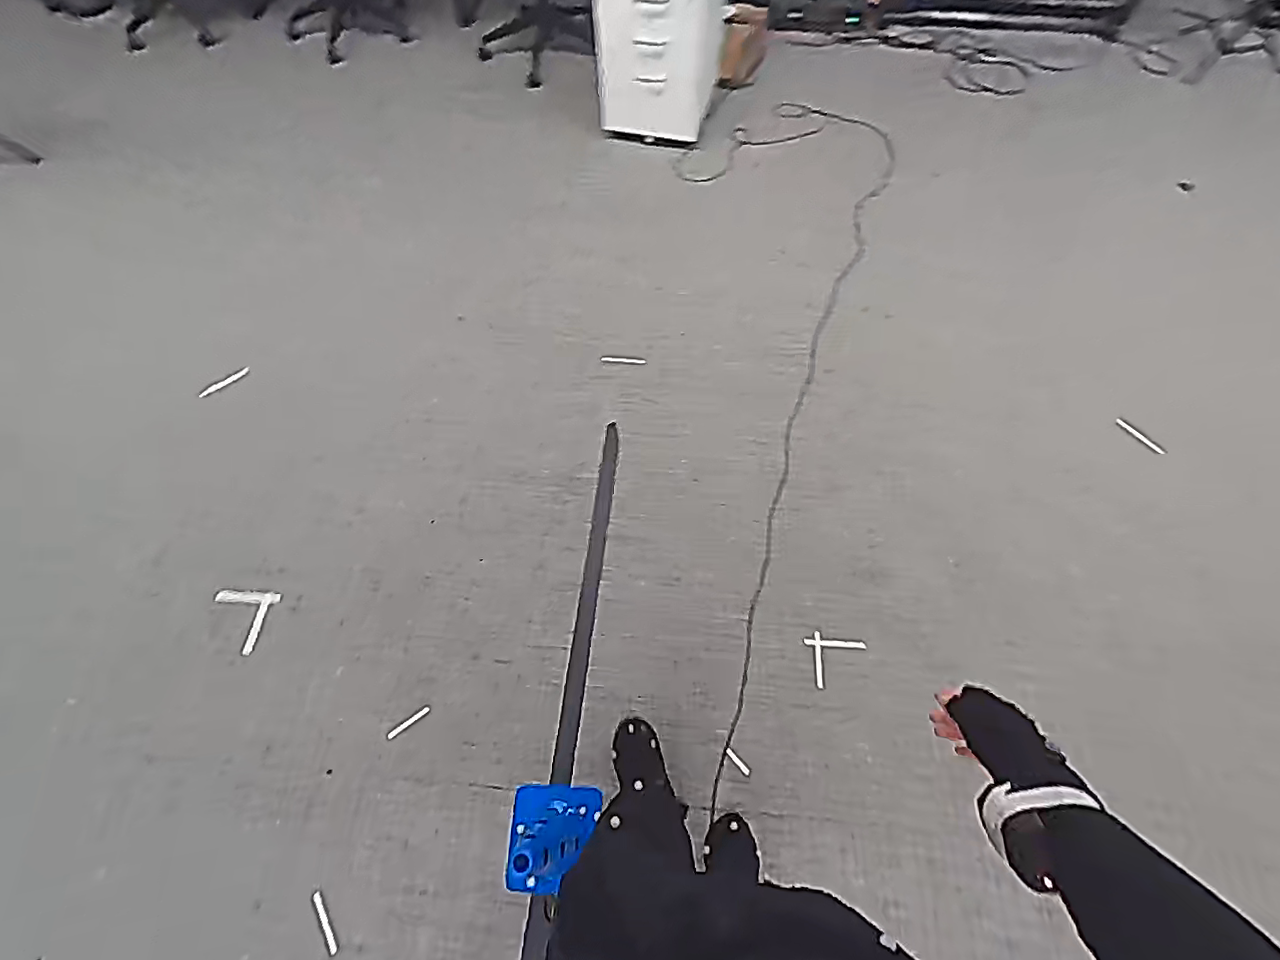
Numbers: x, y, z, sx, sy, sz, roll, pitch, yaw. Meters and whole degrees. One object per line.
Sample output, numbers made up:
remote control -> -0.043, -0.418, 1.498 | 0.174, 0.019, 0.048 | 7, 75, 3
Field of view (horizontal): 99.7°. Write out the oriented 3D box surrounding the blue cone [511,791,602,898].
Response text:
blue cone -> -0.183, 0.702, 1.022 | 0.192, 0.380, 0.193 | 0, 61, 1
